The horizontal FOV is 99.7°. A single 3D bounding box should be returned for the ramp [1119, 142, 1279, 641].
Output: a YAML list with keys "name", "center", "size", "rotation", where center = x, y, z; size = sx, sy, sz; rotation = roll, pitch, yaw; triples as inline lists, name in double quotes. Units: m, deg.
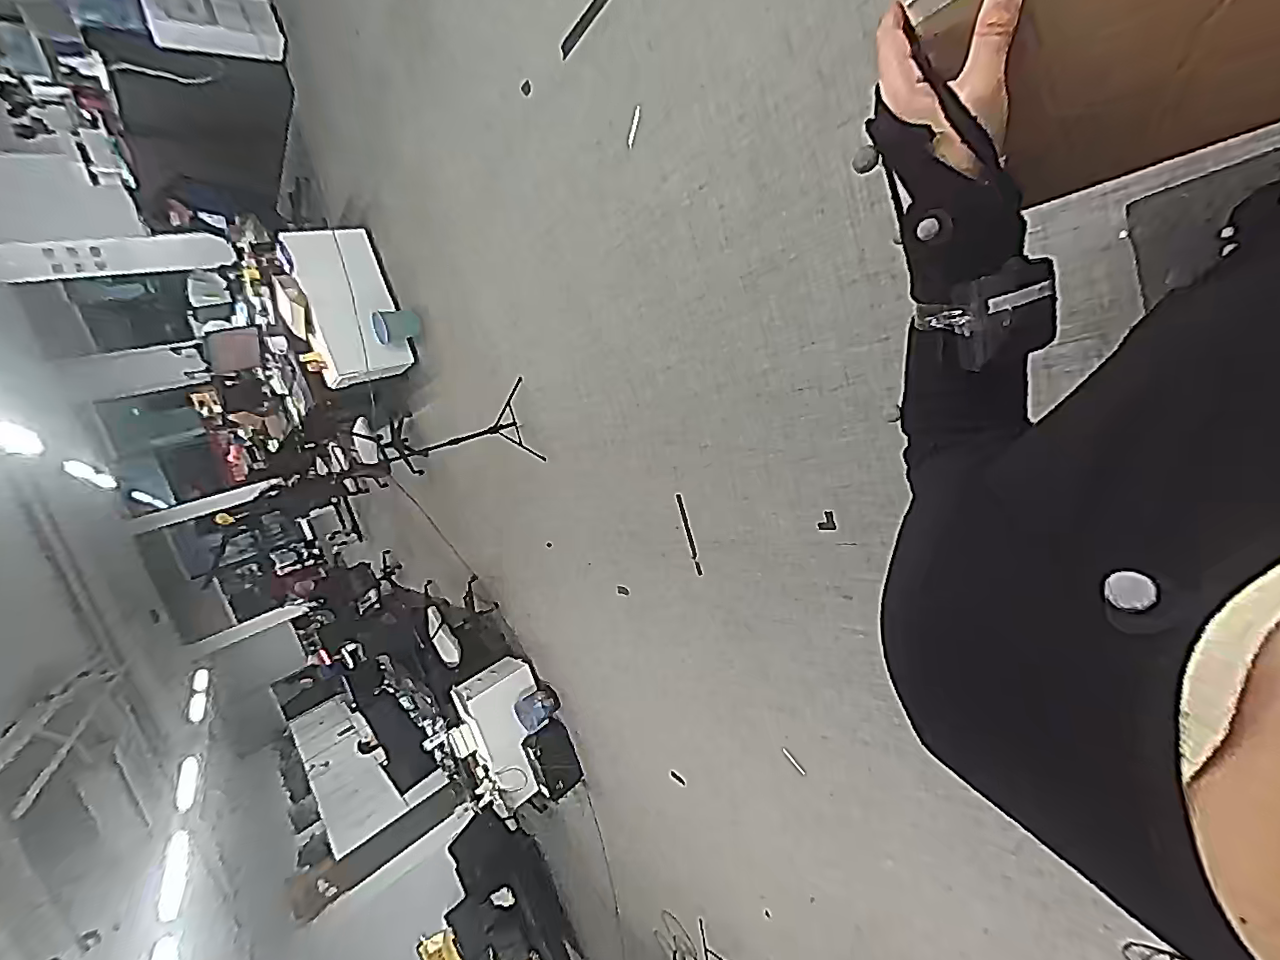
- name: "ramp"
  center: [1.233, -0.097, 0.916]
  size: [0.509, 0.206, 0.991]
  rotation: [-10, 102, 51]
